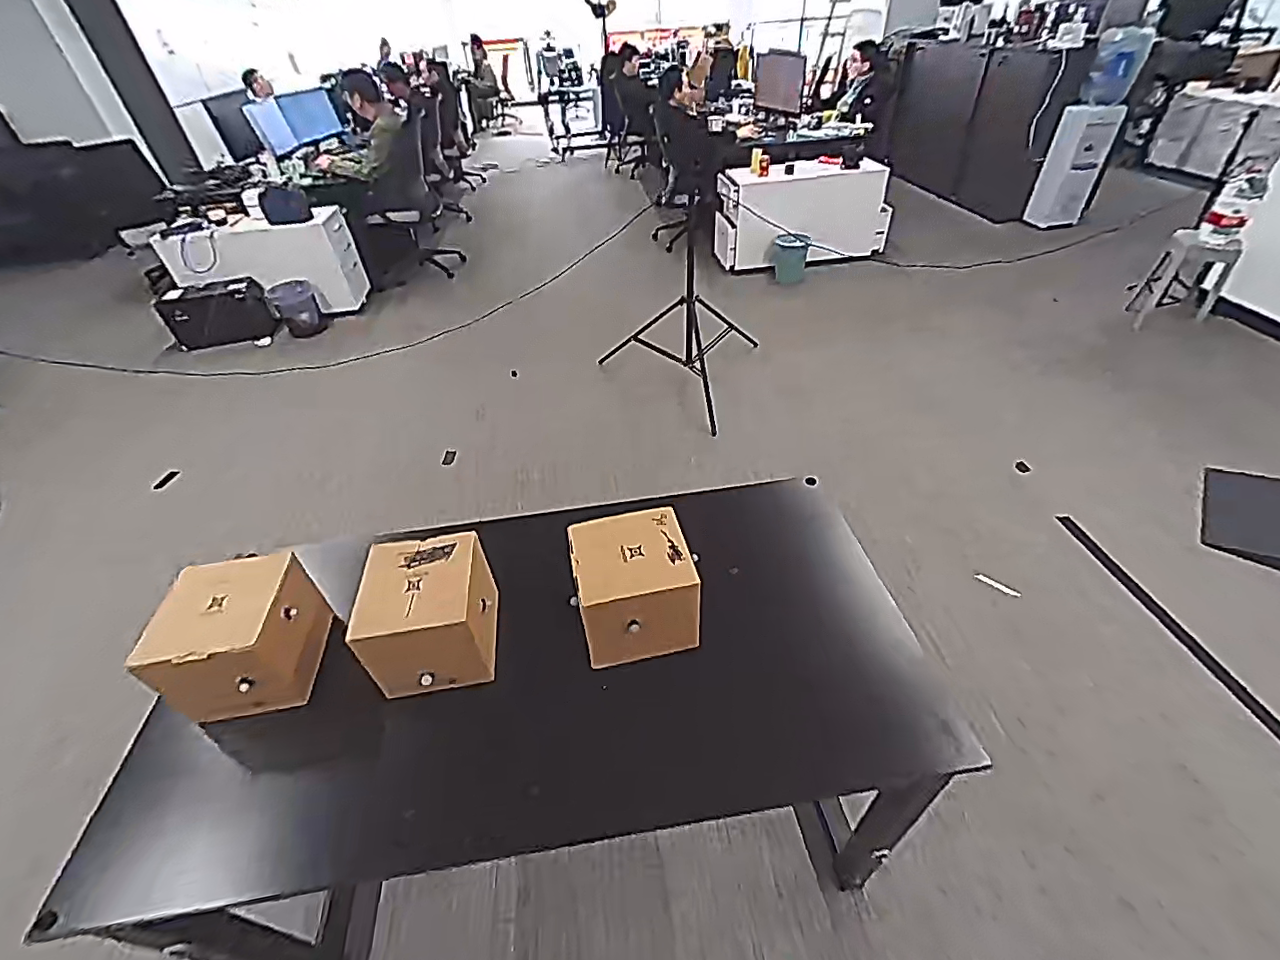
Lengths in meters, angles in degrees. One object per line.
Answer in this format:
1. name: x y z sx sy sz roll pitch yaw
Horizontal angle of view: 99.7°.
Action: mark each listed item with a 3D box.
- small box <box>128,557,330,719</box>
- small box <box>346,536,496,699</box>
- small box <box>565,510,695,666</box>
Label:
1. small box: -0.614 0.249 0.842 0.168 0.176 0.179 -8 41 -7
2. small box: -0.329 0.216 0.856 0.168 0.176 0.179 -8 42 -5
3. small box: -0.015 0.177 0.876 0.179 0.176 0.168 -11 42 -7
